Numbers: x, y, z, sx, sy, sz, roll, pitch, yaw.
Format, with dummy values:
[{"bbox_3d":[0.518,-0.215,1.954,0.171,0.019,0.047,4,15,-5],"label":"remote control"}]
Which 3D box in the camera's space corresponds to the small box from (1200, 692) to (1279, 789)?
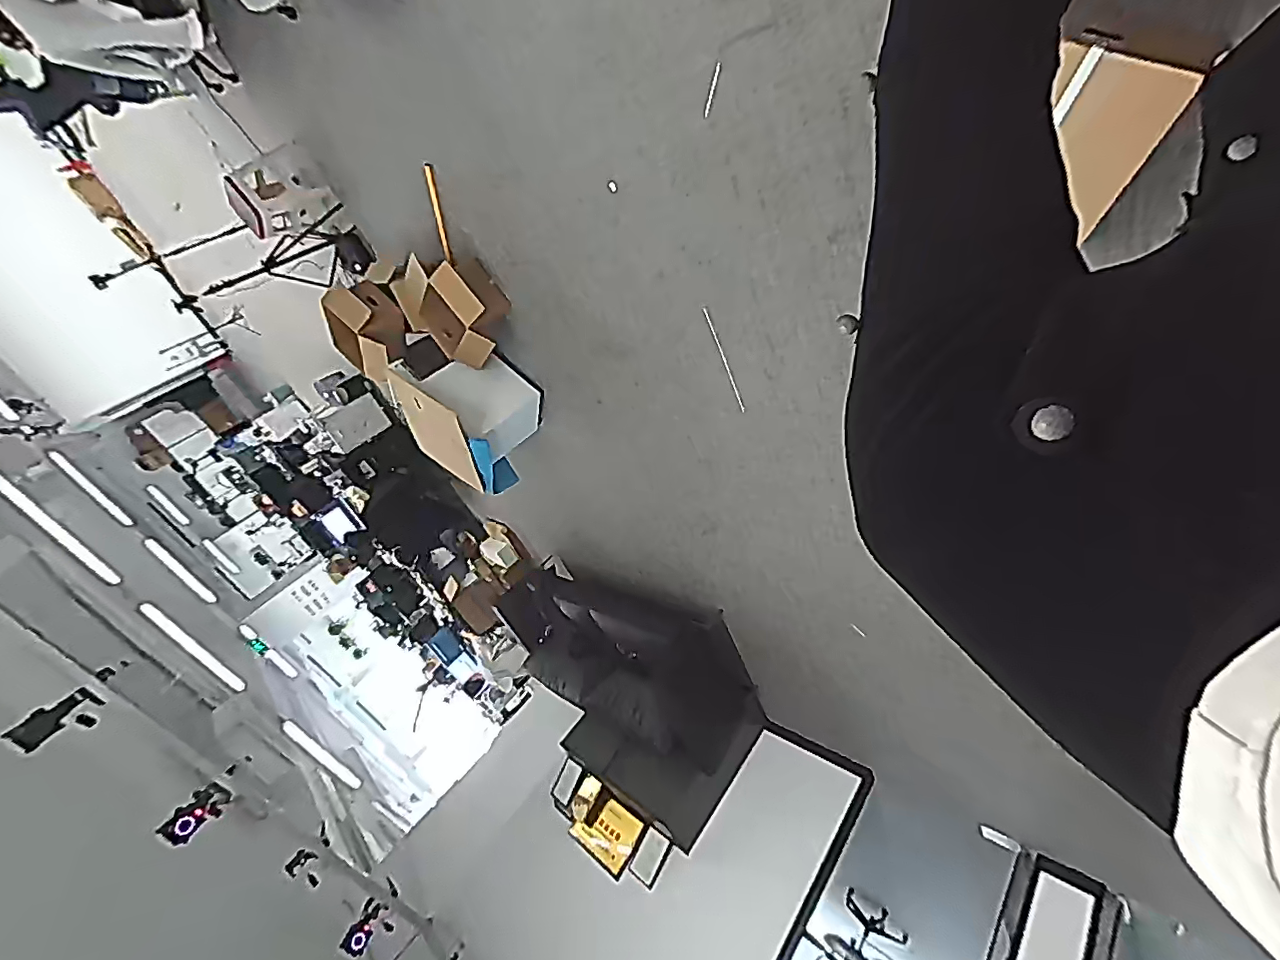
[{"bbox_3d":[1.791,0.759,1.595,0.179,0.176,0.168,3,128,50],"label":"small box"}]
